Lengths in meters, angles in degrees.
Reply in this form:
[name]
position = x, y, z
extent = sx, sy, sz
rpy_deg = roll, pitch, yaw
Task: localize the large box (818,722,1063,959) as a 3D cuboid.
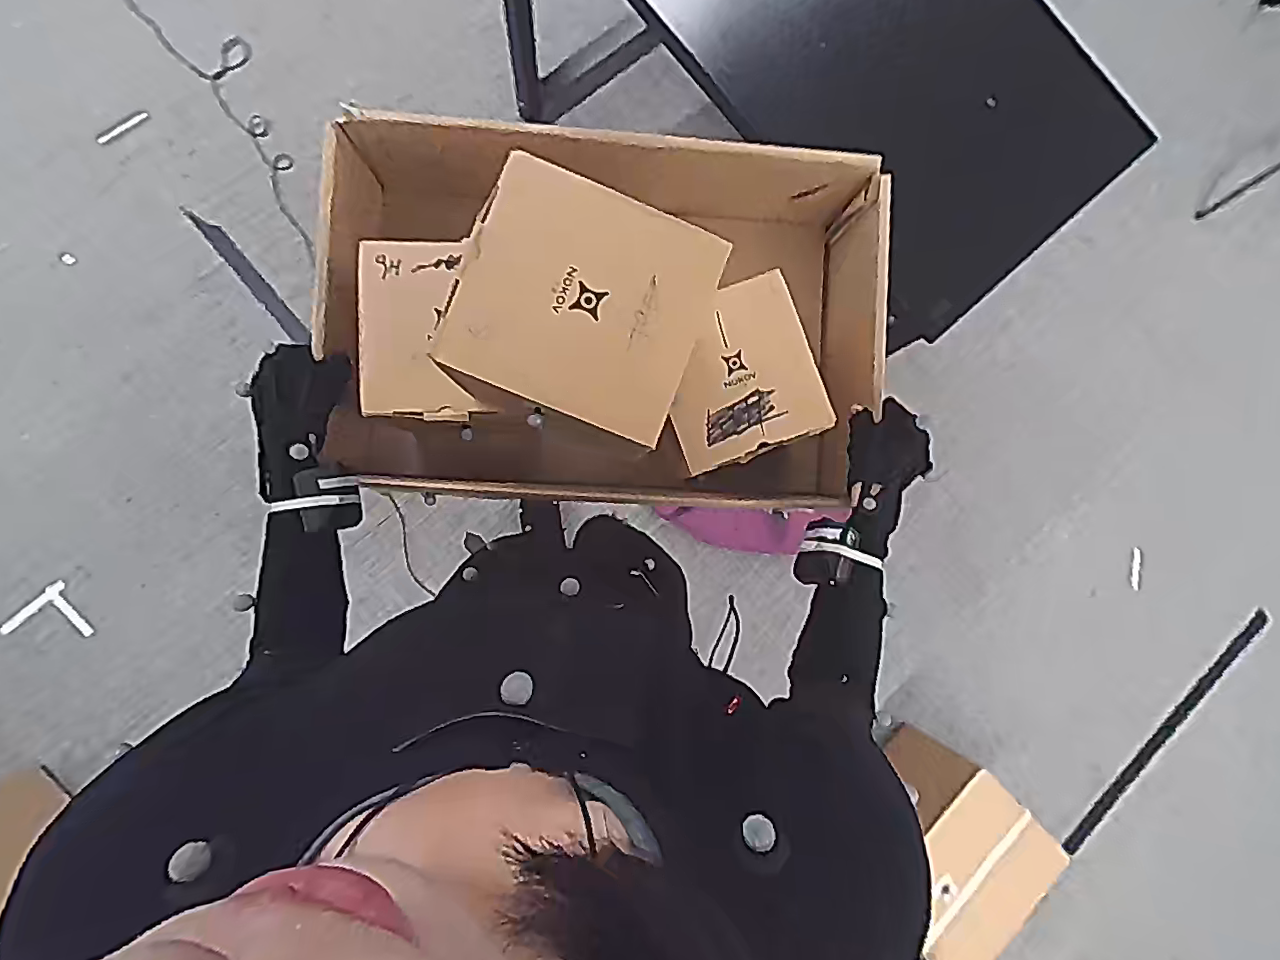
[large box]
position = 0.754, 0.932, 1.404
extent = 0.408, 0.320, 0.320
rpy_deg = -44, 91, -8
